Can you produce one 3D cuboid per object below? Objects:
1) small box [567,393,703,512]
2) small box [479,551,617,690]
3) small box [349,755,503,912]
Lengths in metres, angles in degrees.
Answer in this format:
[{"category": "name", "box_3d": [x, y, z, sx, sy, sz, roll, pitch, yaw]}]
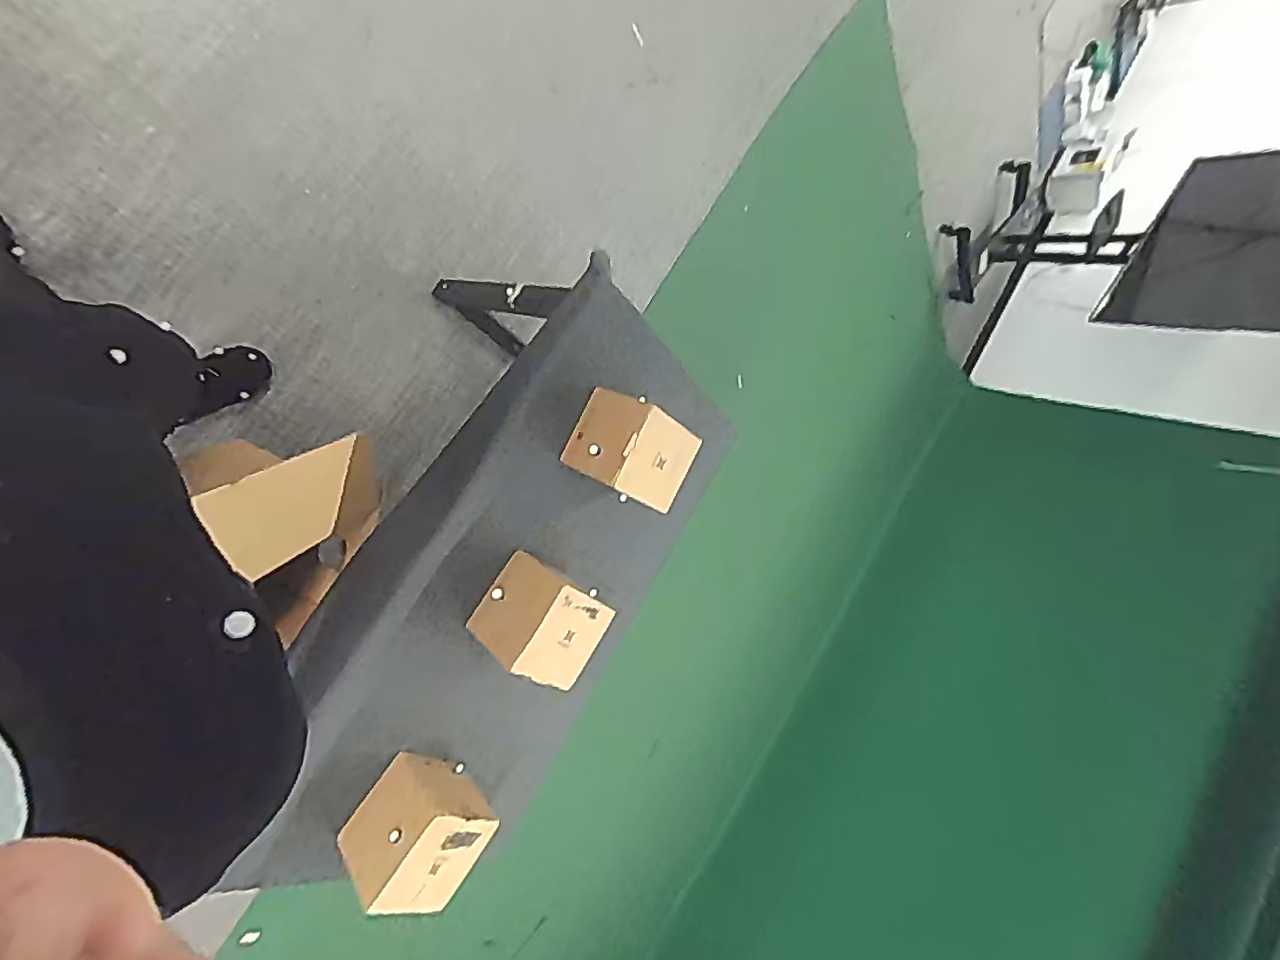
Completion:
[{"category": "small box", "box_3d": [-0.014, -0.060, 1.070, 0.179, 0.176, 0.168, 28, 89, -49]}, {"category": "small box", "box_3d": [-0.184, 0.267, 1.042, 0.179, 0.176, 0.168, -57, 136, -9]}, {"category": "small box", "box_3d": [-0.395, 0.640, 0.991, 0.179, 0.176, 0.168, -54, 135, -12]}]
